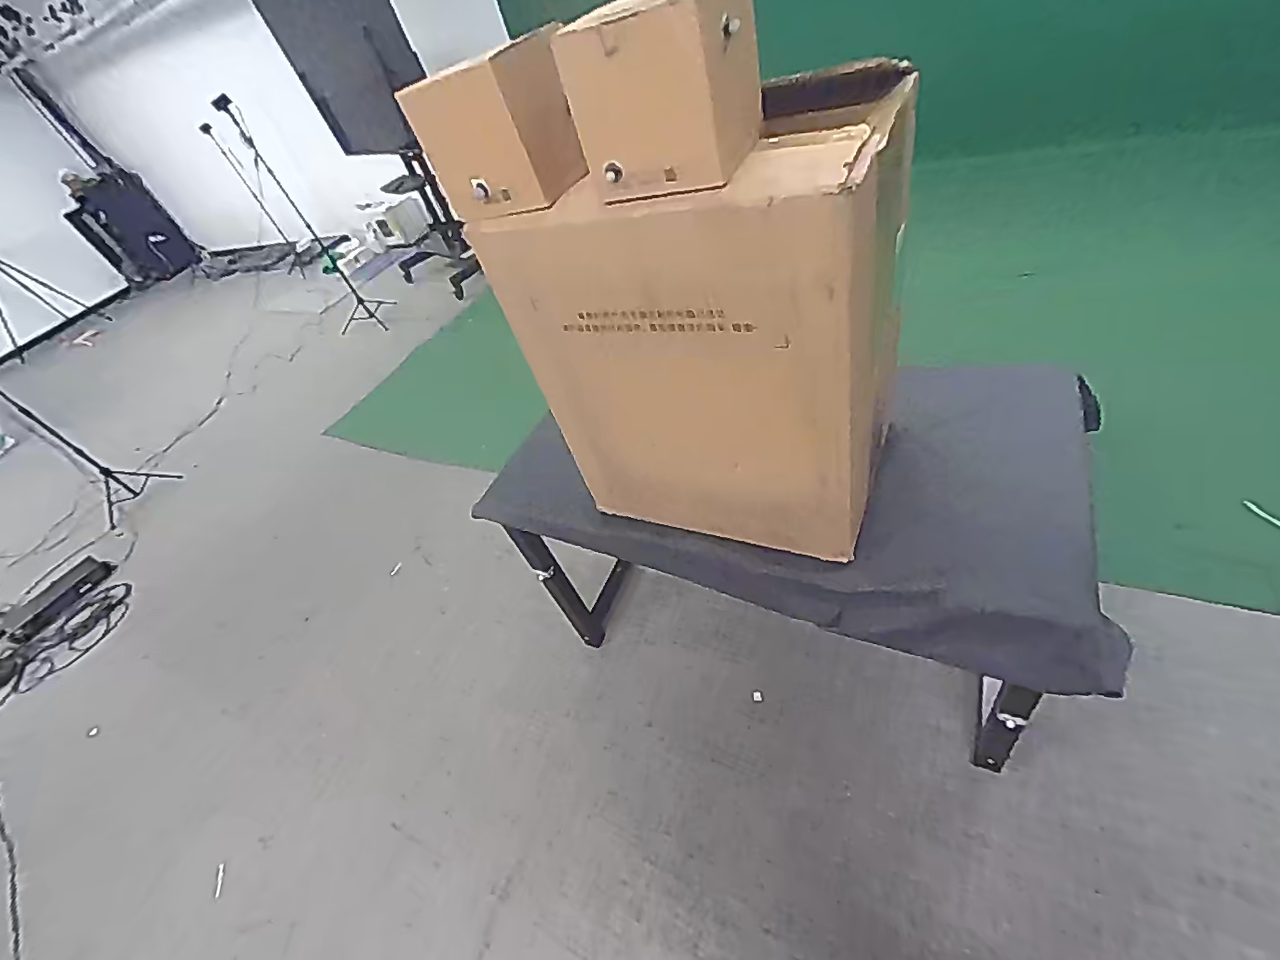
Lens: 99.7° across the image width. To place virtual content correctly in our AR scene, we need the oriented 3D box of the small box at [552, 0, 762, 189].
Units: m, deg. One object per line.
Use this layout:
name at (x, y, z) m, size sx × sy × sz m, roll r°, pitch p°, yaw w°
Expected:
small box at (0.034, -0.452, 0.619) m, size 0.168 × 0.176 × 0.179 m, roll 8°, pitch 51°, yaw 27°

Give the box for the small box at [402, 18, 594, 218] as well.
small box at (-0.176, -0.488, 0.745) m, size 0.168 × 0.176 × 0.179 m, roll 6°, pitch 51°, yaw 30°
